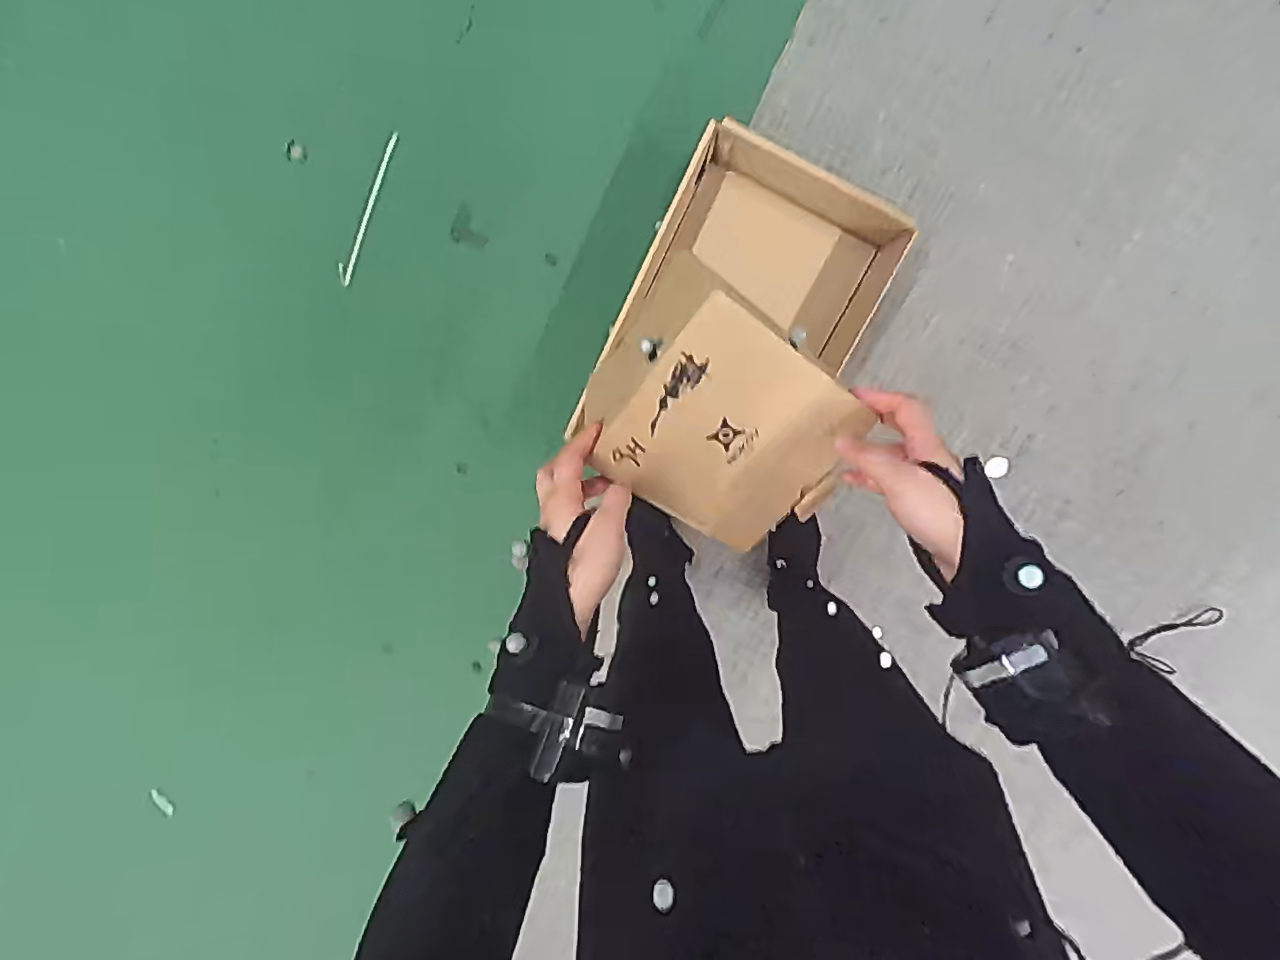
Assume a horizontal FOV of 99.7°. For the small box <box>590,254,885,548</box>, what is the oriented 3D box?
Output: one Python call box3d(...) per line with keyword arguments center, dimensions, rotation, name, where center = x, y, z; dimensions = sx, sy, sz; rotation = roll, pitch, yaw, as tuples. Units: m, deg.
box3d(center=(0.071, -0.077, 0.488), dimensions=(0.179, 0.176, 0.168), rotation=(32, 114, -23), name="small box")
